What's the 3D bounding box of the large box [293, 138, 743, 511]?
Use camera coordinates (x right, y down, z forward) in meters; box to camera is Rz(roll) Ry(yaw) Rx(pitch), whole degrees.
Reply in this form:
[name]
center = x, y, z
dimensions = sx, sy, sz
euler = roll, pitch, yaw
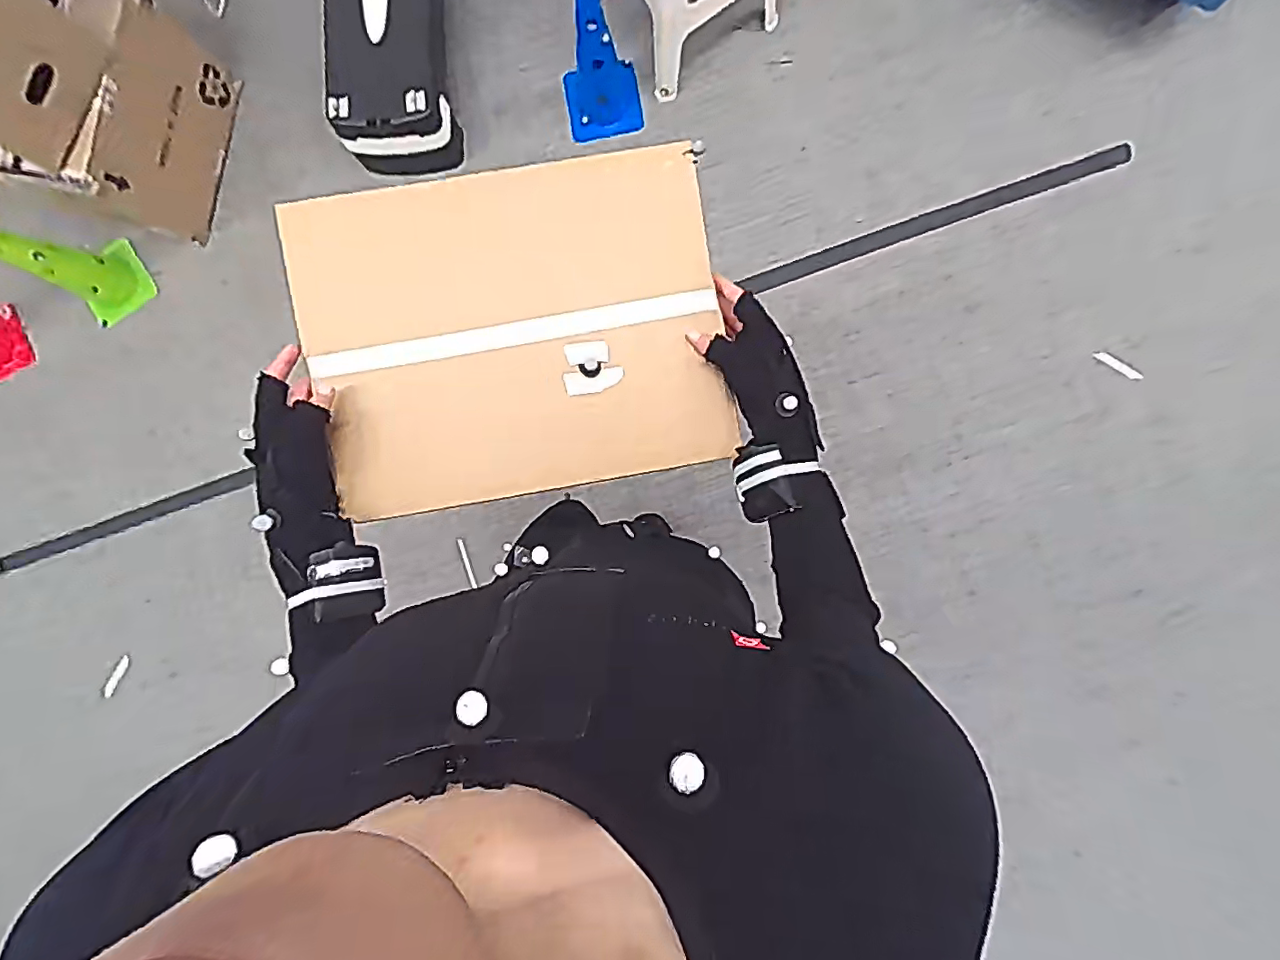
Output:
[large box]
center = -0.123, -0.161, 0.683
dimensions = 0.408, 0.320, 0.320
euler = -10, 95, -3
